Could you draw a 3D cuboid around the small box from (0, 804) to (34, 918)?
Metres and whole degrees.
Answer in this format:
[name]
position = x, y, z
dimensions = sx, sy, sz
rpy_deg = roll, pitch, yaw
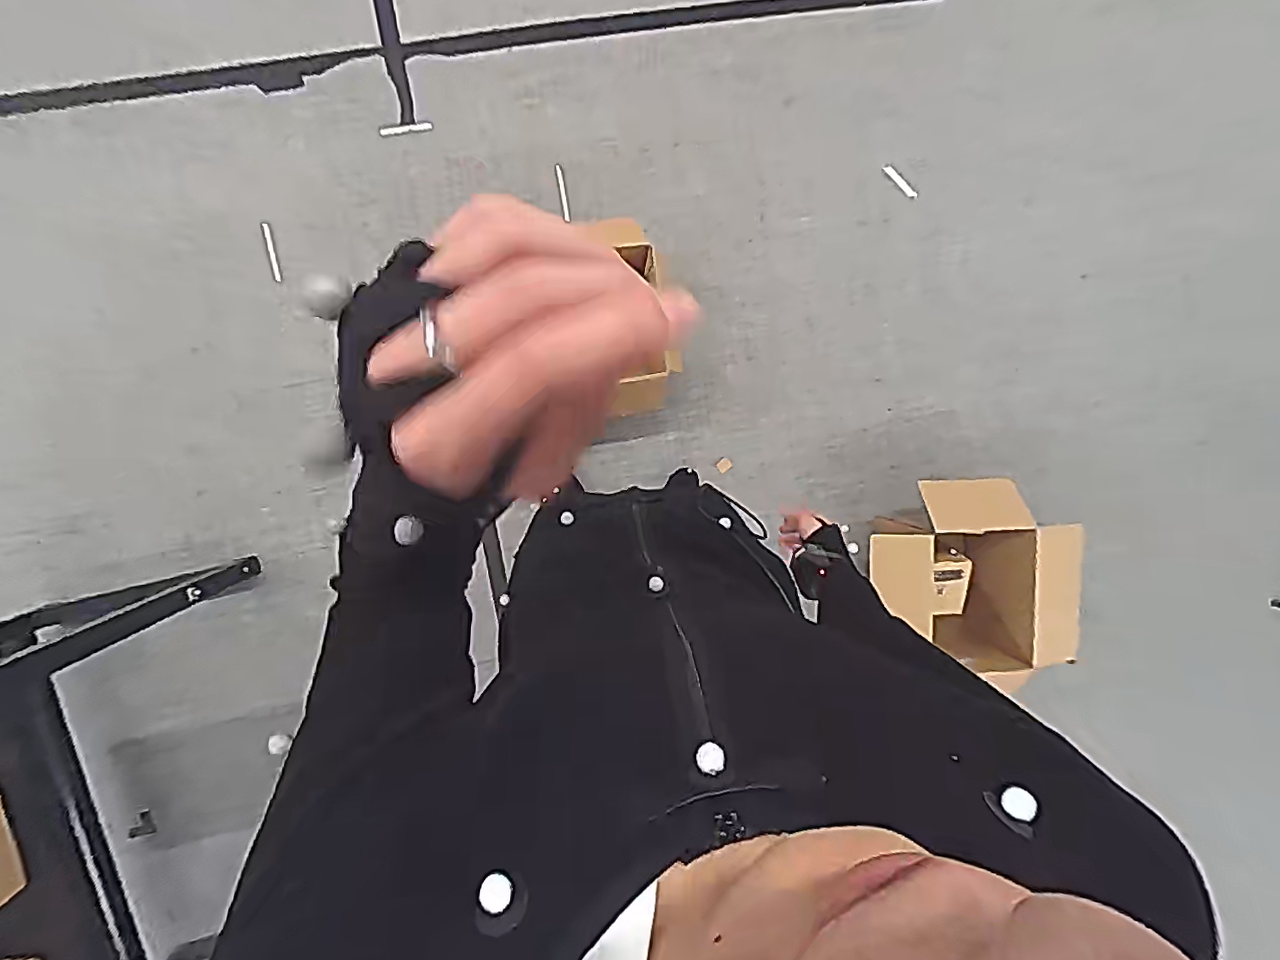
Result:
[small box]
position = -1.030, 0.578, 0.752
dimensions = 0.168, 0.176, 0.179
rpy_deg = -9, 98, -5
